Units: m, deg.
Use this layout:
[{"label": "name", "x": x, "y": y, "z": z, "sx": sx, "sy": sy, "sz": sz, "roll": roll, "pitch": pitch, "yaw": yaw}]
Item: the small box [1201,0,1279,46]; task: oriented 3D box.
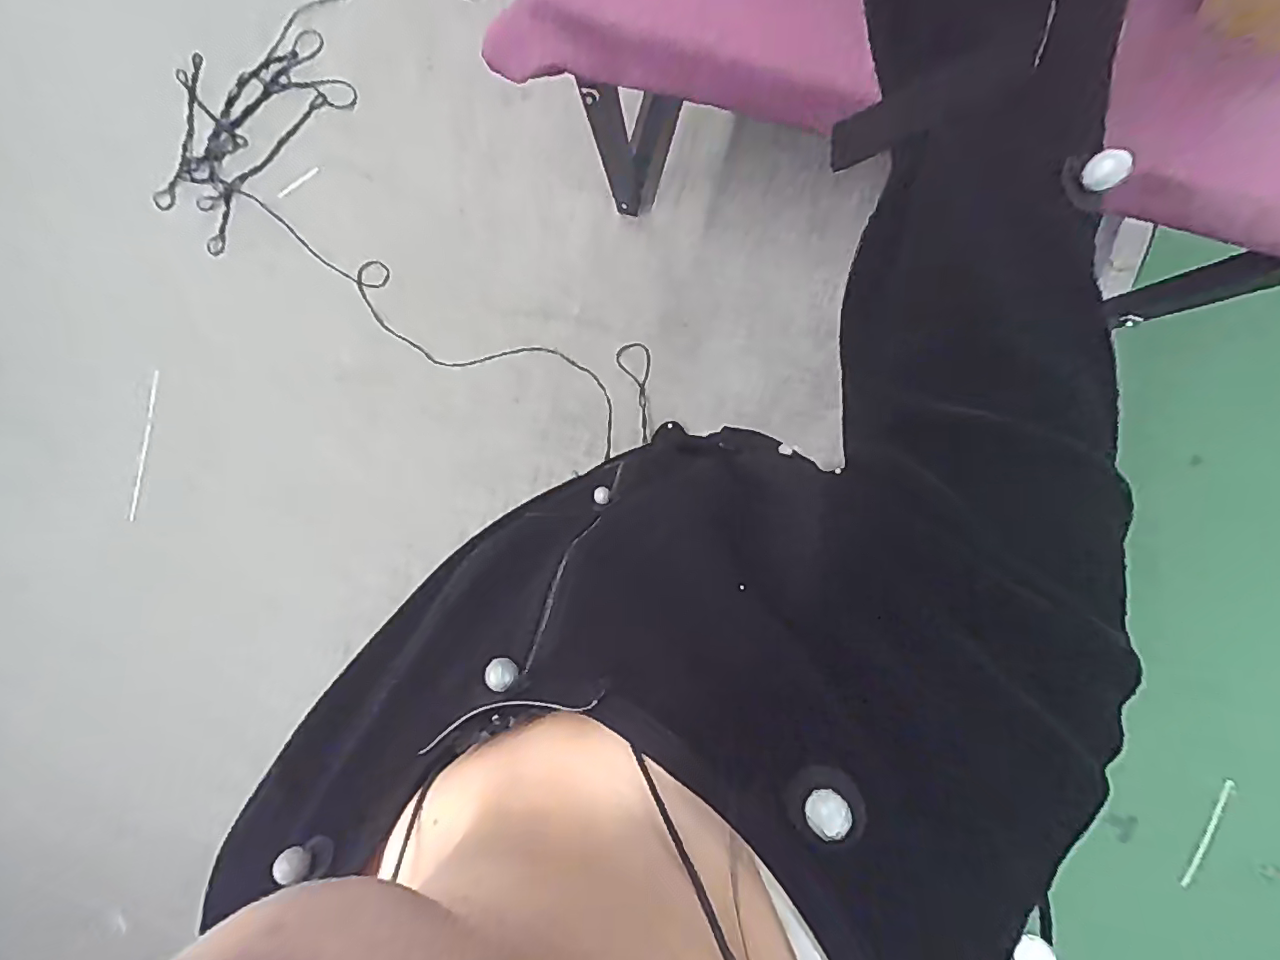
[{"label": "small box", "x": 0.780, "y": -0.598, "z": 0.565, "sx": 0.179, "sy": 0.176, "sz": 0.168, "roll": 26, "pitch": 96, "yaw": 3}]
